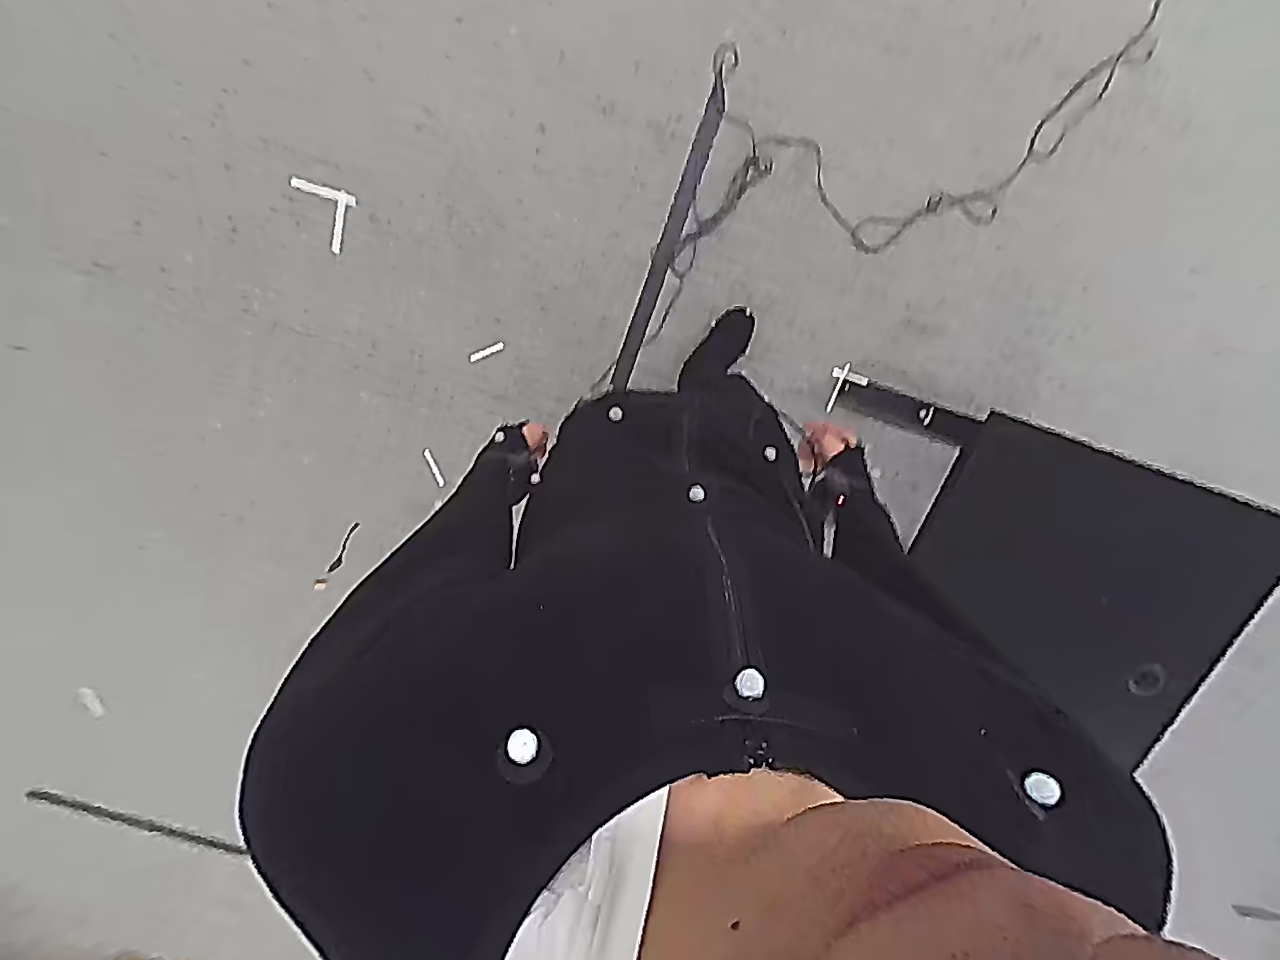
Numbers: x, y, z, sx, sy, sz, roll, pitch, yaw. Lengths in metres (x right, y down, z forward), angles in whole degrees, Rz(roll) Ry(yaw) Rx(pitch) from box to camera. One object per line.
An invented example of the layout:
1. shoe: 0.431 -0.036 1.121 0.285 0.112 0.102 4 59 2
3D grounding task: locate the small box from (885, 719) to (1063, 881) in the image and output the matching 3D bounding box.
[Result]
1. small box: 0.581 0.561 0.967 0.179 0.176 0.168 18 106 -4
